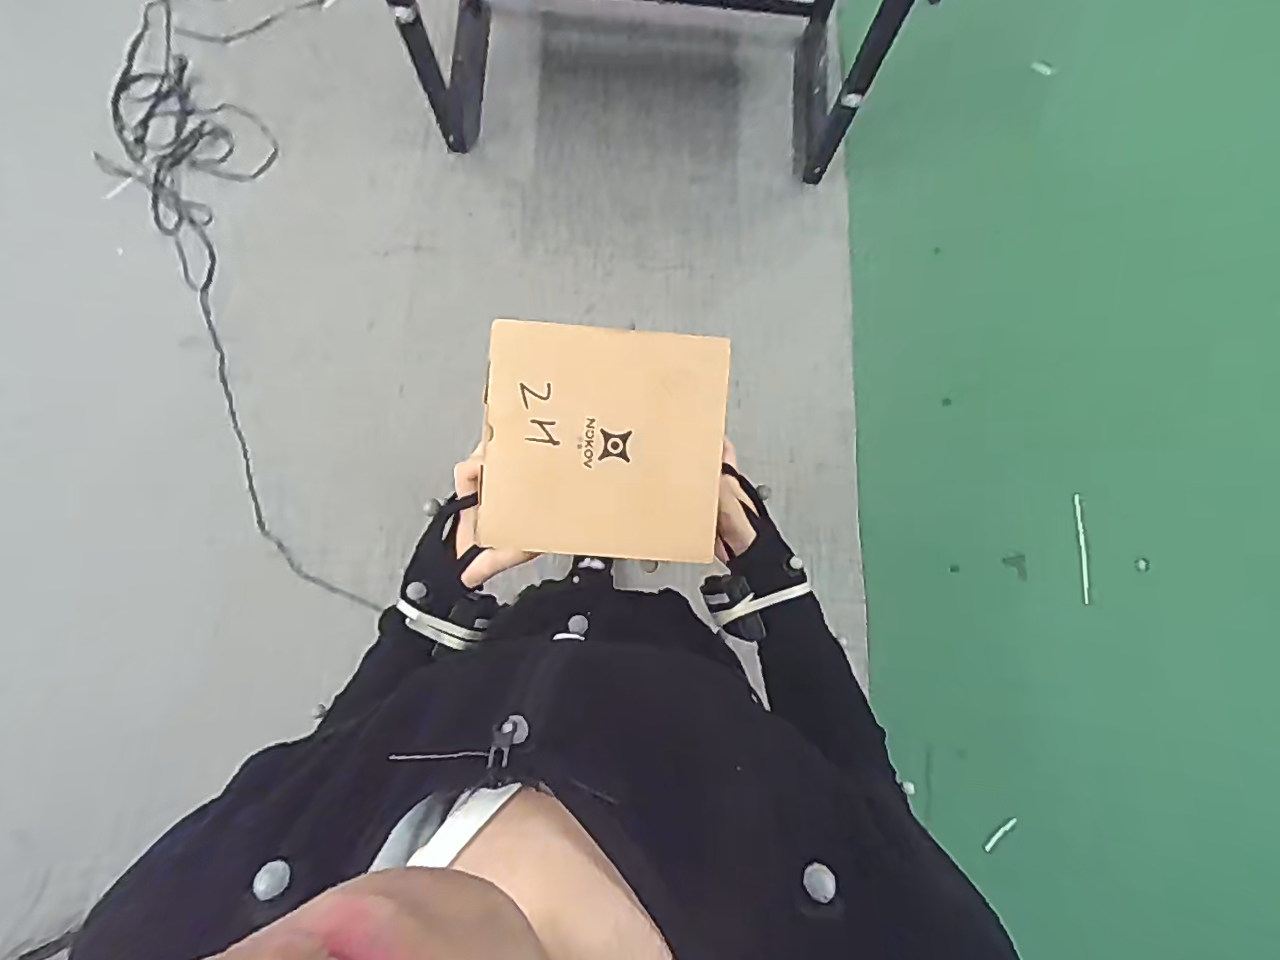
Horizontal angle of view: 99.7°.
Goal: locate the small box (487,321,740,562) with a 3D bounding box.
[{"bbox_3d":[-0.023,-0.030,0.475,0.179,0.176,0.168,5,92,-3],"label":"small box"}]
